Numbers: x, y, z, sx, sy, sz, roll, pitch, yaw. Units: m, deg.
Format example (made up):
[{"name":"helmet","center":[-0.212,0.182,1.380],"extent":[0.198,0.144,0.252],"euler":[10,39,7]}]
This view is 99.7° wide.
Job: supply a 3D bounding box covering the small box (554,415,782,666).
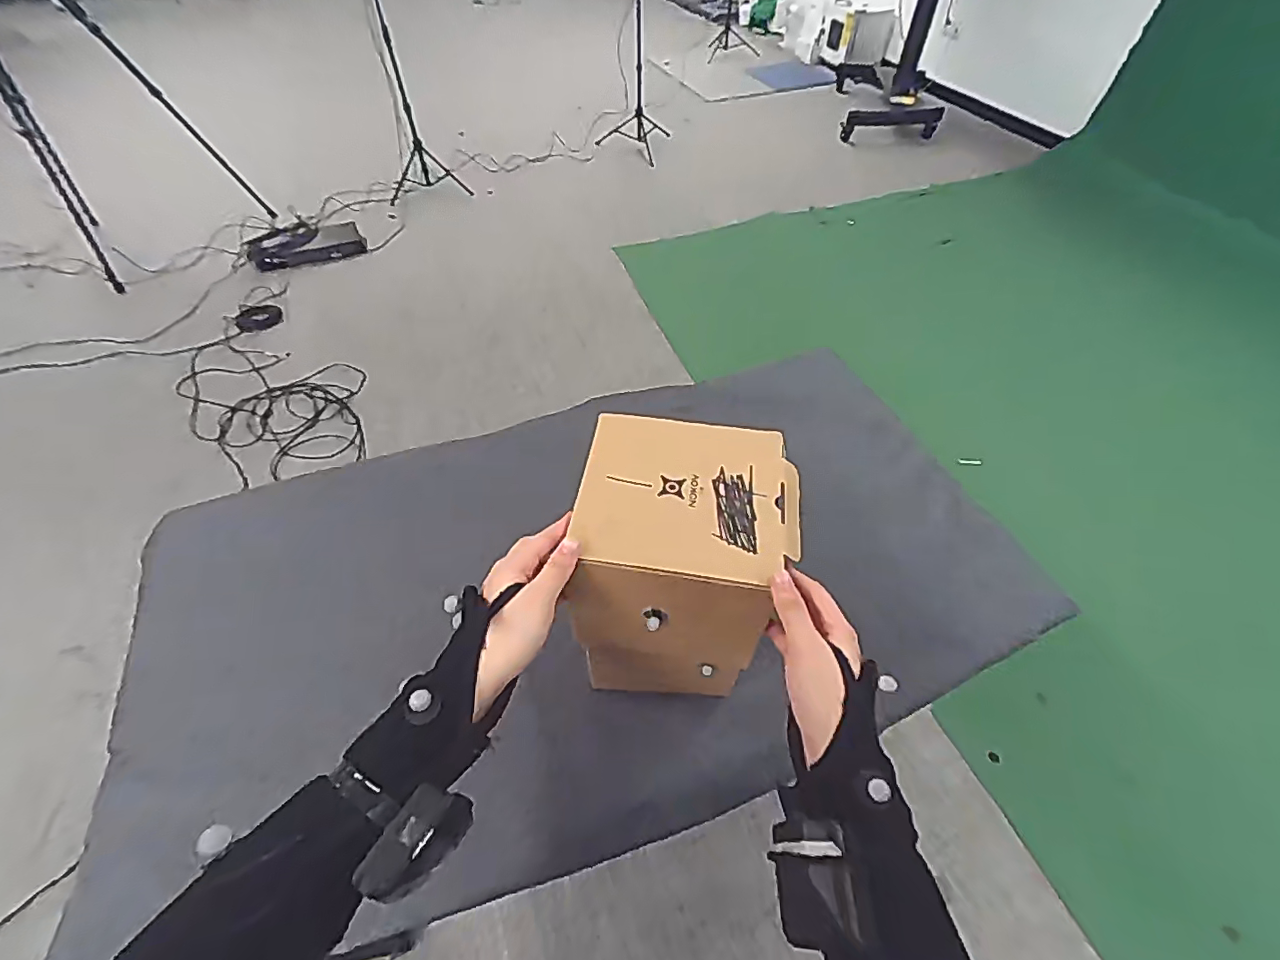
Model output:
[{"name":"small box","center":[0.030,0.063,0.518],"extent":[0.179,0.176,0.168],"euler":[8,52,5]}]
